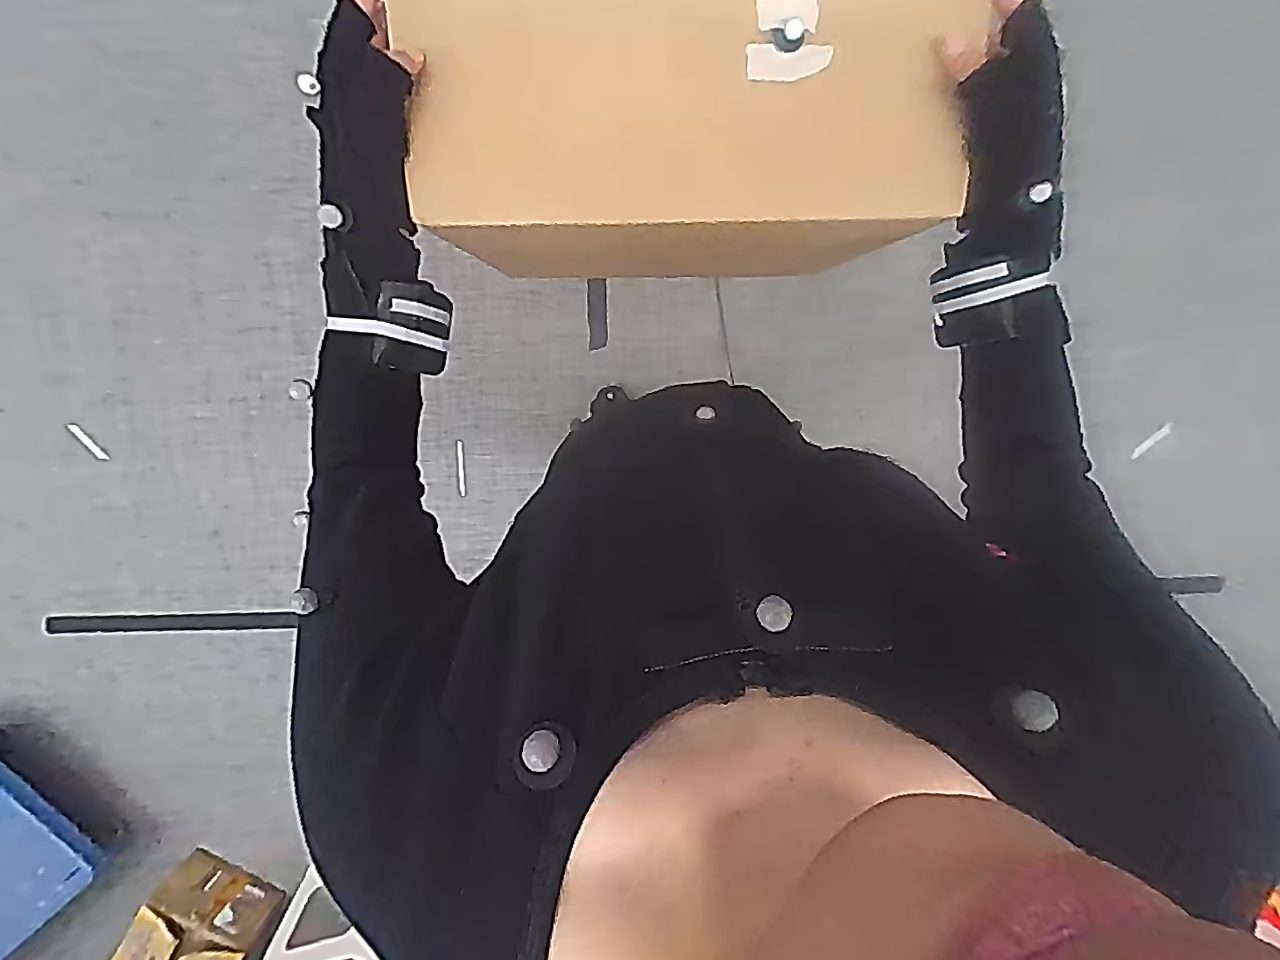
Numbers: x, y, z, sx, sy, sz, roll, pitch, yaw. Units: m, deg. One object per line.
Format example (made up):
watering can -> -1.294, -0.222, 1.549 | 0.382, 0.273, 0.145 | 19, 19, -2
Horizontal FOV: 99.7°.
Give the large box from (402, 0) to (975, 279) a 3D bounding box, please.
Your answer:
large box -> 0.029, -0.379, 0.513 | 0.408, 0.320, 0.320 | -2, 104, -2
